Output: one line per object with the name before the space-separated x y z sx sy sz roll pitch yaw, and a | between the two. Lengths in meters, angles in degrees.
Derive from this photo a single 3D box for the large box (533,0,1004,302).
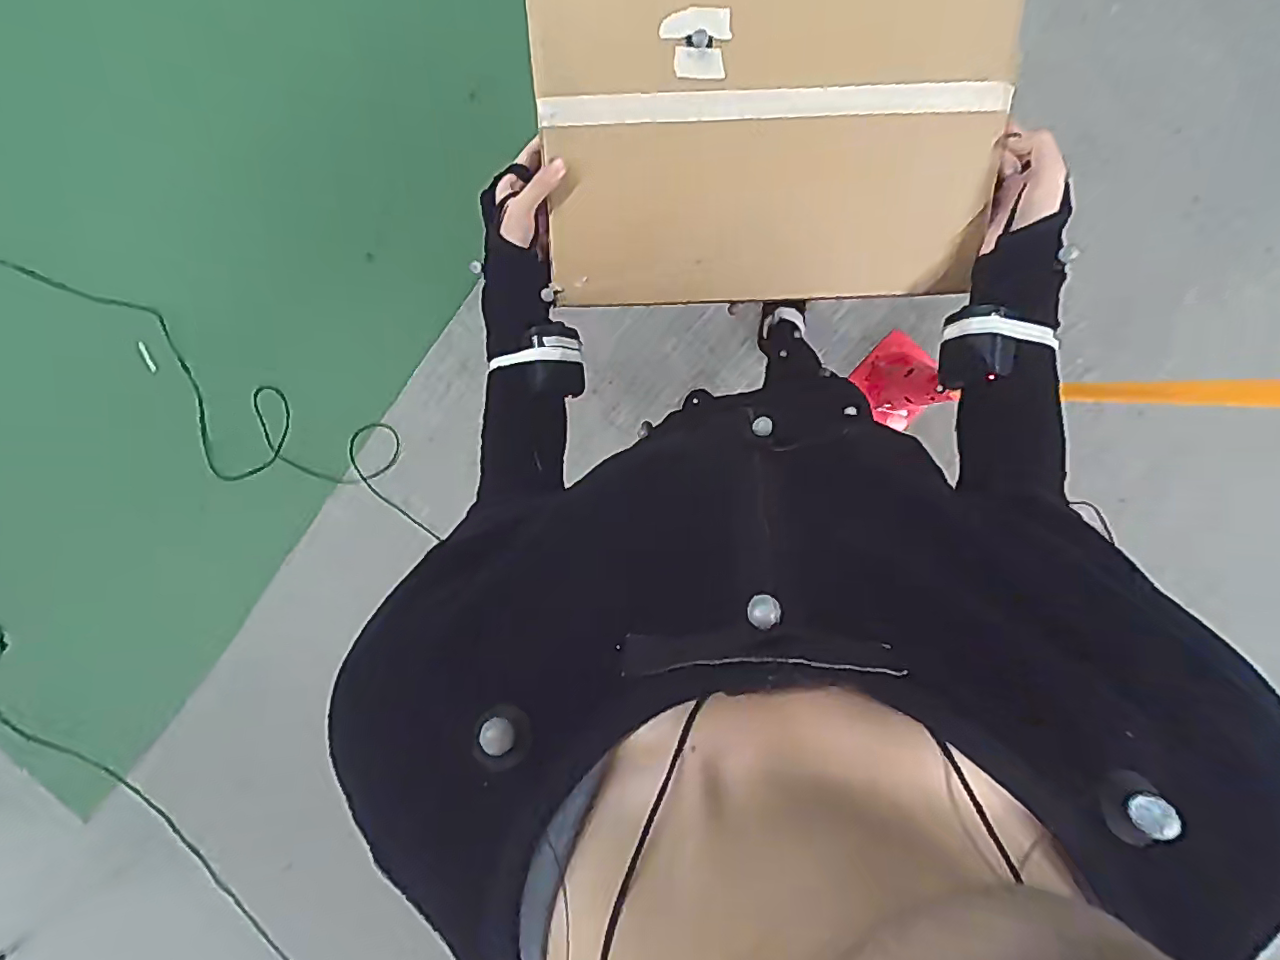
large box | 0.109 -0.376 0.620 0.408 0.320 0.320 -1 108 -1
